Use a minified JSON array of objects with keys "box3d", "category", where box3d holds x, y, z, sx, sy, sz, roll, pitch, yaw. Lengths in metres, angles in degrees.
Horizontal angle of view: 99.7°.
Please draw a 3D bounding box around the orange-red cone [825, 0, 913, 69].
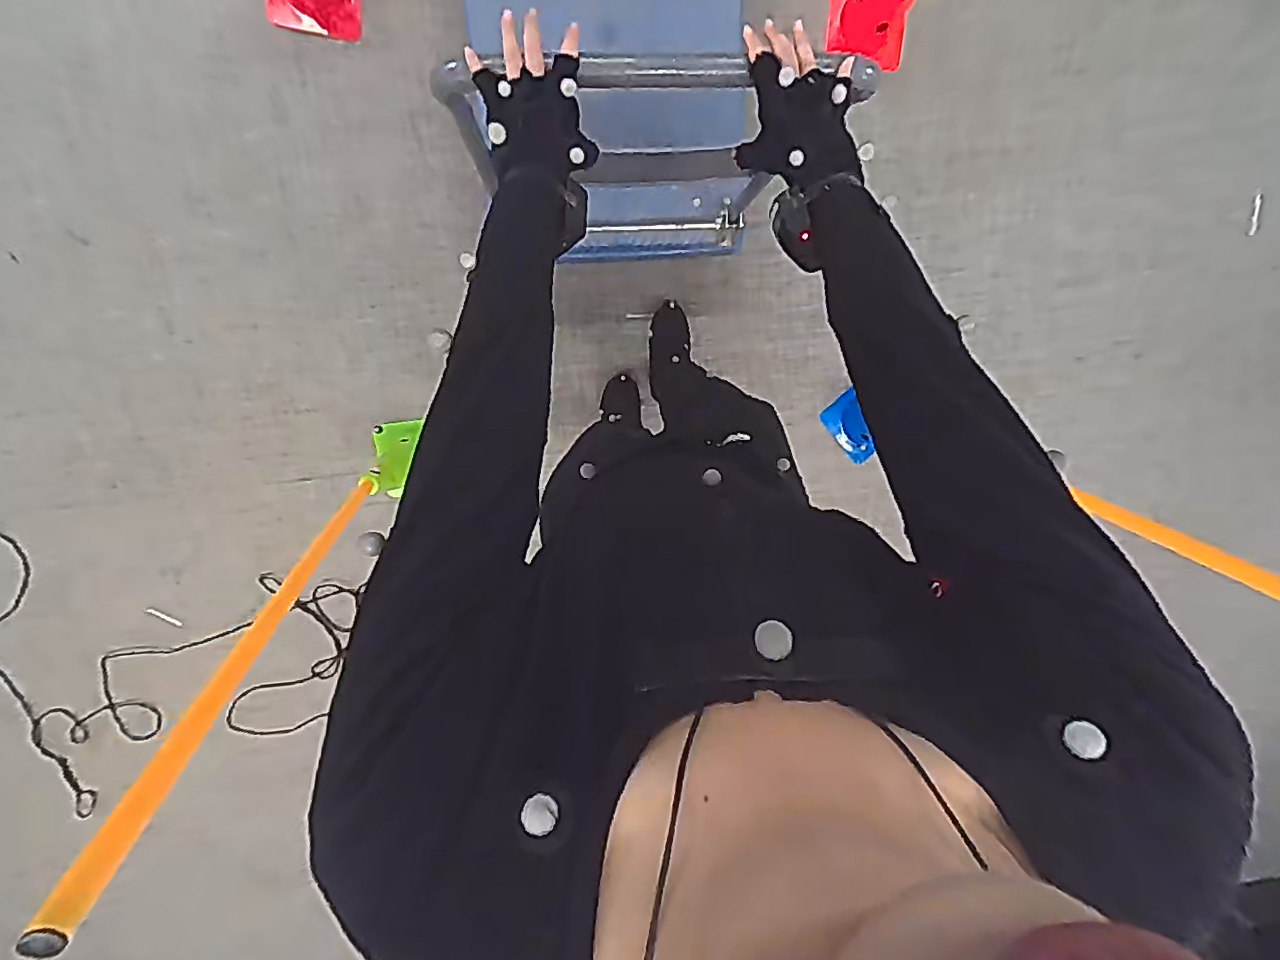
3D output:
[{"box3d":[0.576,-1.093,1.159,0.198,0.360,0.199,5,102,-6],"category":"orange-red cone"}]
